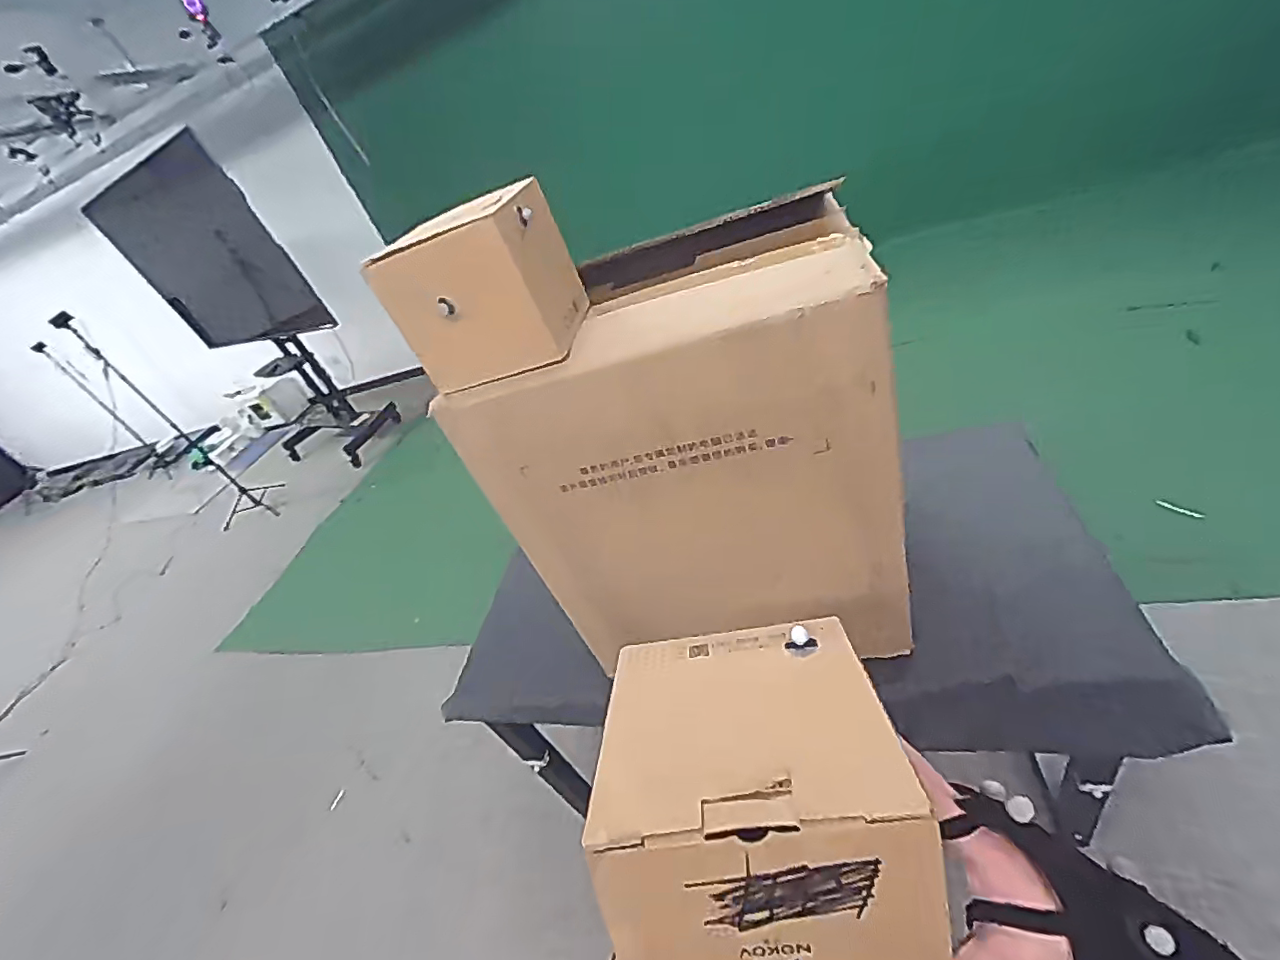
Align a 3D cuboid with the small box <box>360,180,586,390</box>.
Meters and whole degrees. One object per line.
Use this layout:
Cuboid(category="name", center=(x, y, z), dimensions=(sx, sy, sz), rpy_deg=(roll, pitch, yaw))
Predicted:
Cuboid(category="small box", center=(-0.190, -0.234, 0.669), dimensions=(0.179, 0.176, 0.168), rpy_deg=(-13, 39, 19))
